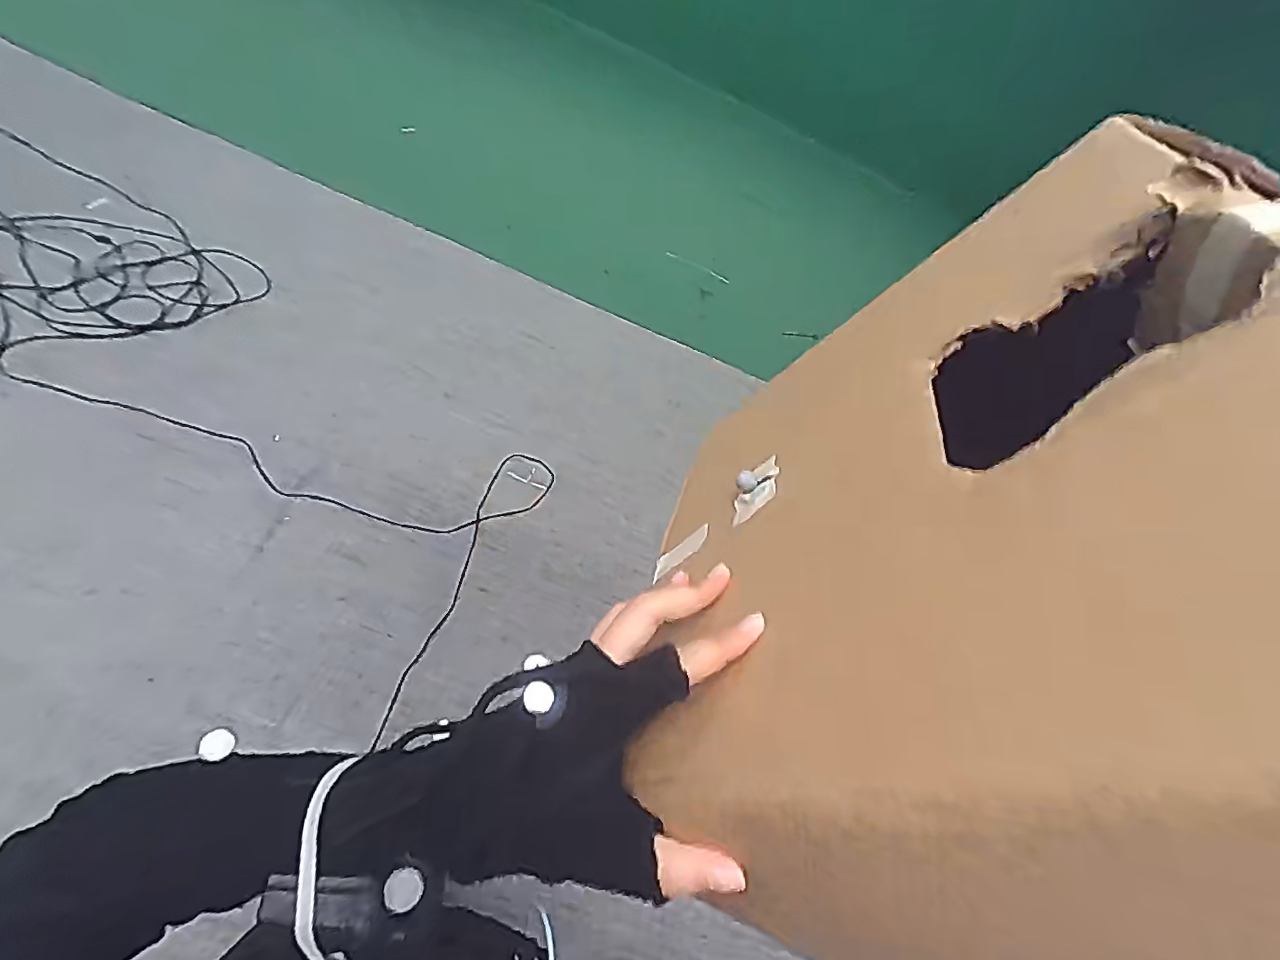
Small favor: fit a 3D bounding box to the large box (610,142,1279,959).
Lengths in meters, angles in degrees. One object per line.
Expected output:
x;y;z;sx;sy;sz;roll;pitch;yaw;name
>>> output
0.254;0.107;0.323;0.408;0.320;0.320;39;44;-16;large box
